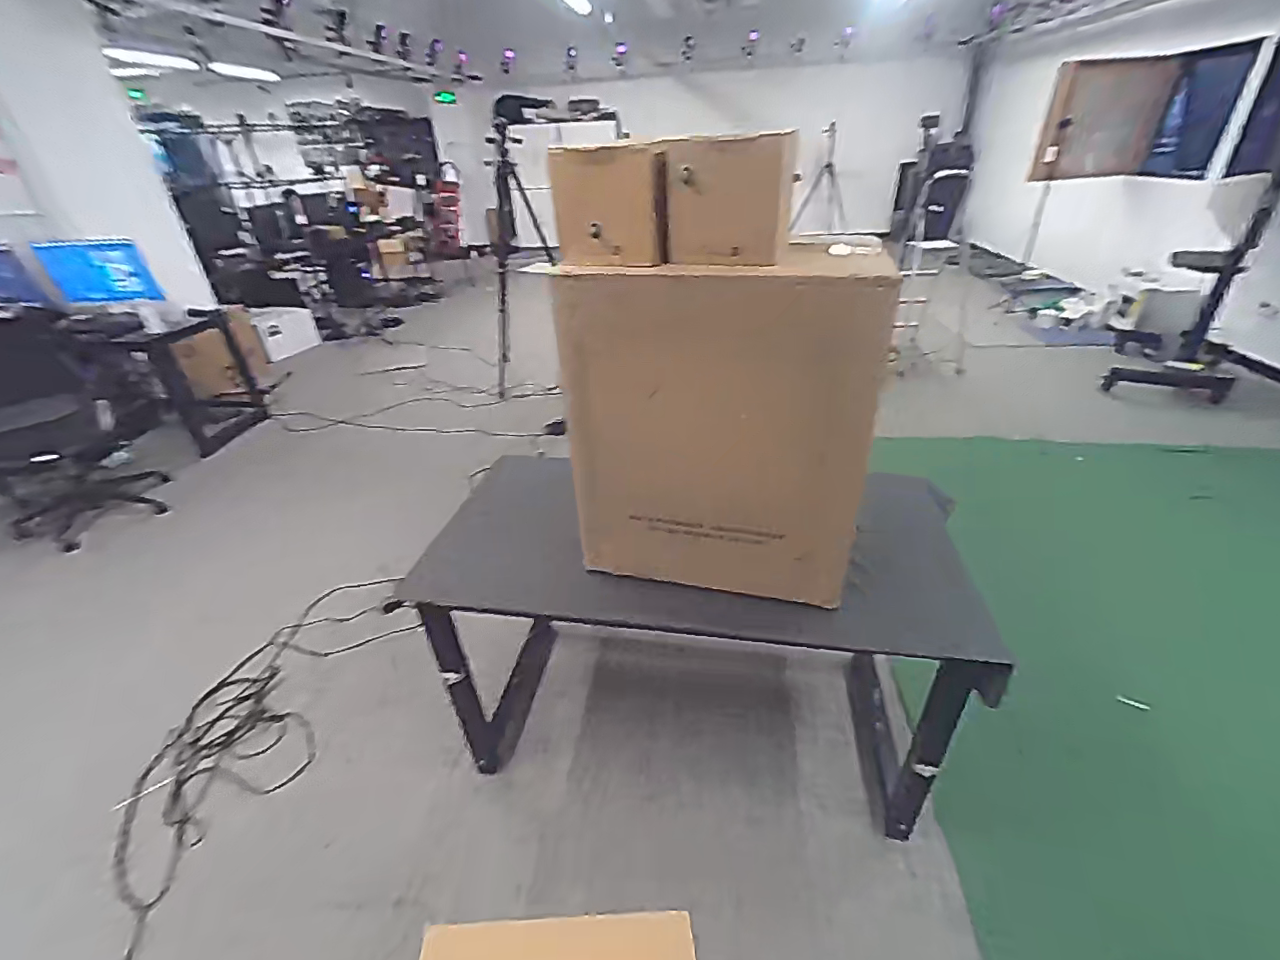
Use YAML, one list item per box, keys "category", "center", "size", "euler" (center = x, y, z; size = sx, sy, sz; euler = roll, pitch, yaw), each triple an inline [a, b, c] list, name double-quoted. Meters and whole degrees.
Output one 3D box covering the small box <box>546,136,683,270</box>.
- category: "small box"
  center: [-0.033, -0.451, 0.873]
  size: [0.168, 0.176, 0.179]
  euler: [8, 37, 17]
